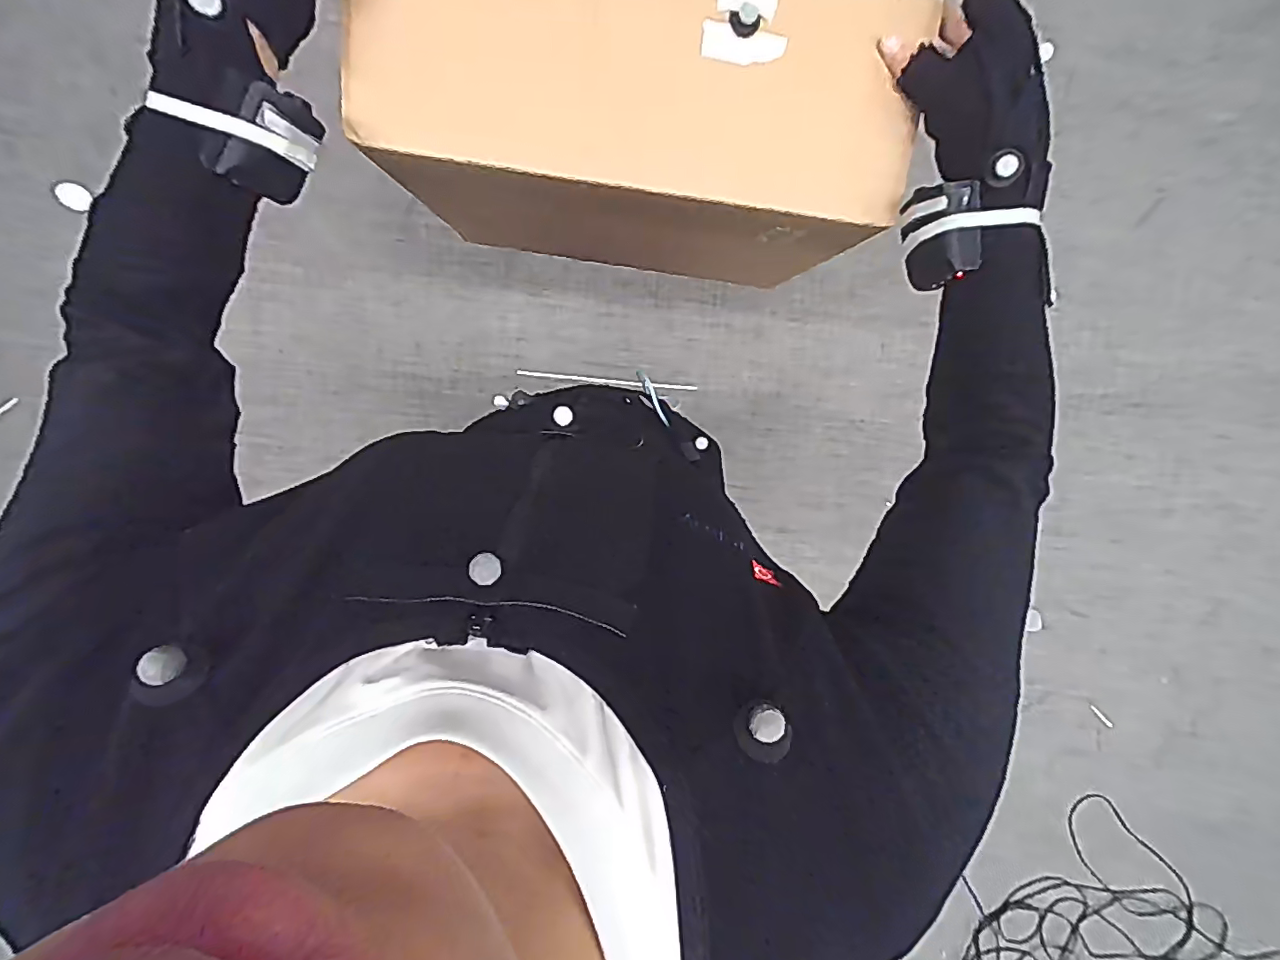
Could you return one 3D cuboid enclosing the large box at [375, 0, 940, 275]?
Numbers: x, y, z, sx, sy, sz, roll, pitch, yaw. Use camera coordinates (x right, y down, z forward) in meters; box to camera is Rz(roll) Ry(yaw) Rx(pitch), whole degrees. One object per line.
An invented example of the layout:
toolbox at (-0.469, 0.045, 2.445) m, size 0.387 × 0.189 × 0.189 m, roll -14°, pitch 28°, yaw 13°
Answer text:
large box at (0.012, -0.405, 0.519) m, size 0.408 × 0.320 × 0.320 m, roll 6°, pitch 102°, yaw -5°
